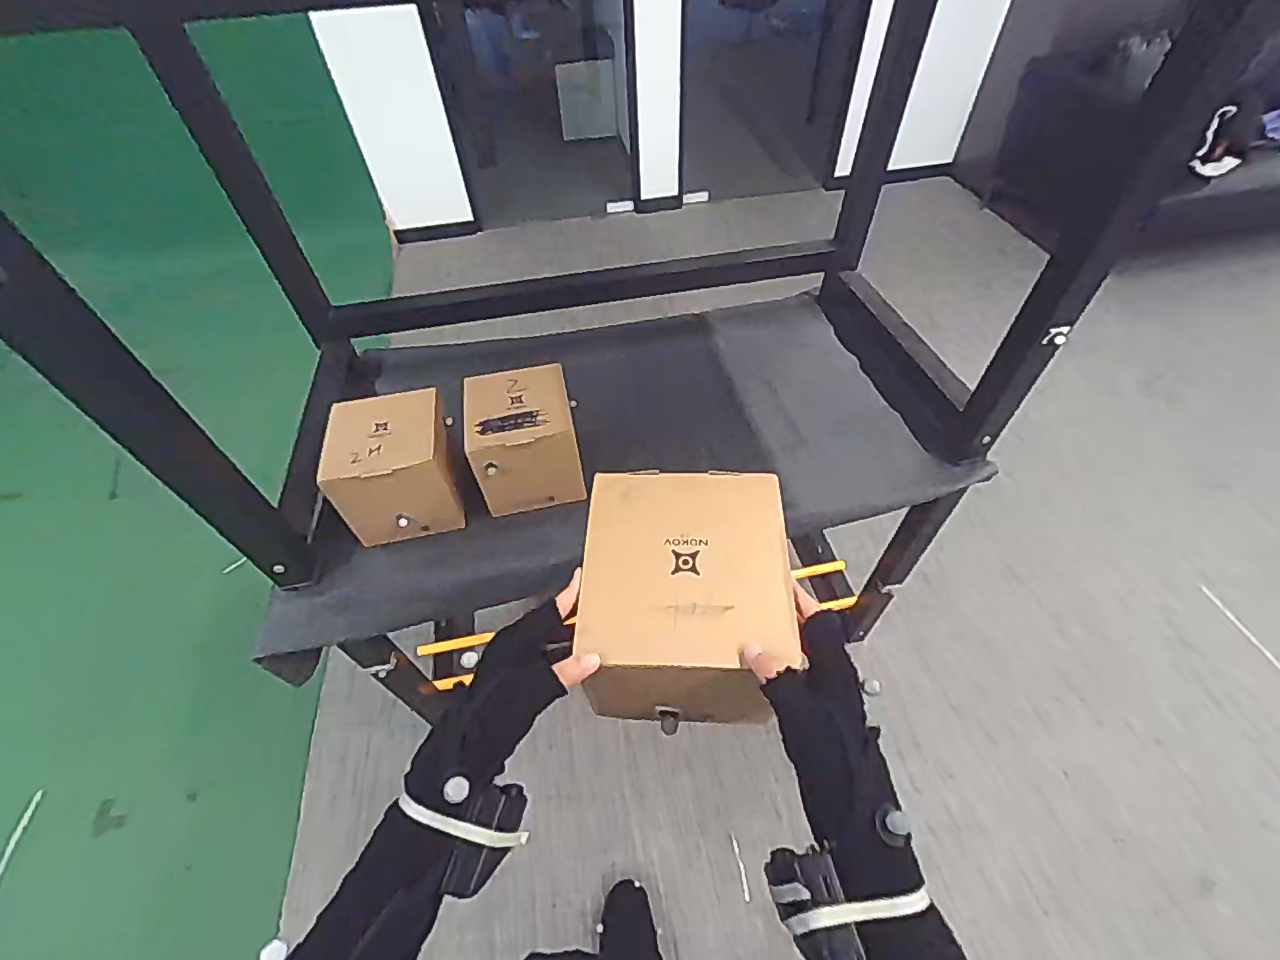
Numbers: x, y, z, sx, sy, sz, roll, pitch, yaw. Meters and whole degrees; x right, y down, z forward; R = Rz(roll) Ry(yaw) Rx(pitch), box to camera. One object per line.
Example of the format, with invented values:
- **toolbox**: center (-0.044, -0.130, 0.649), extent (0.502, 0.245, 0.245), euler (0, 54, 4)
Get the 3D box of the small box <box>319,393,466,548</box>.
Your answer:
- **small box**: center (-0.392, -0.015, 0.889), extent (0.168, 0.176, 0.179), euler (-11, 50, -7)
